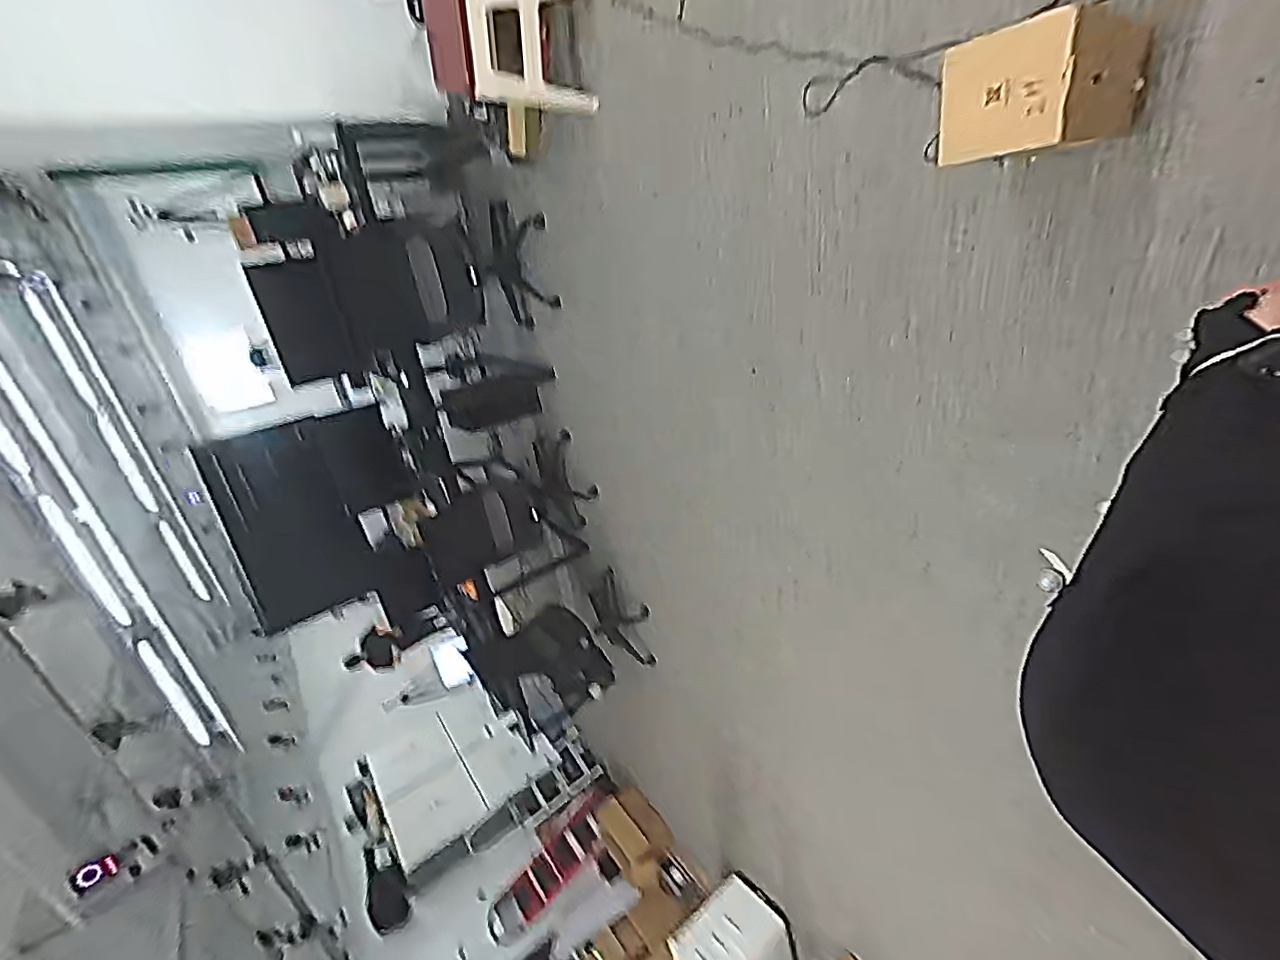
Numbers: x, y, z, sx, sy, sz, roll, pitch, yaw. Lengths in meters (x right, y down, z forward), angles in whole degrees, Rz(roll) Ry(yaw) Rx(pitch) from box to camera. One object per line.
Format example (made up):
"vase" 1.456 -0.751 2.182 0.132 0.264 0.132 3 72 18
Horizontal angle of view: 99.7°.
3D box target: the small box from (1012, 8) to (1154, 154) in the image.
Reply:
"small box" 0.727 -0.666 0.926 0.179 0.176 0.168 22 129 48

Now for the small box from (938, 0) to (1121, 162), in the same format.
"small box" 0.598 -0.607 0.841 0.179 0.176 0.168 20 128 50
